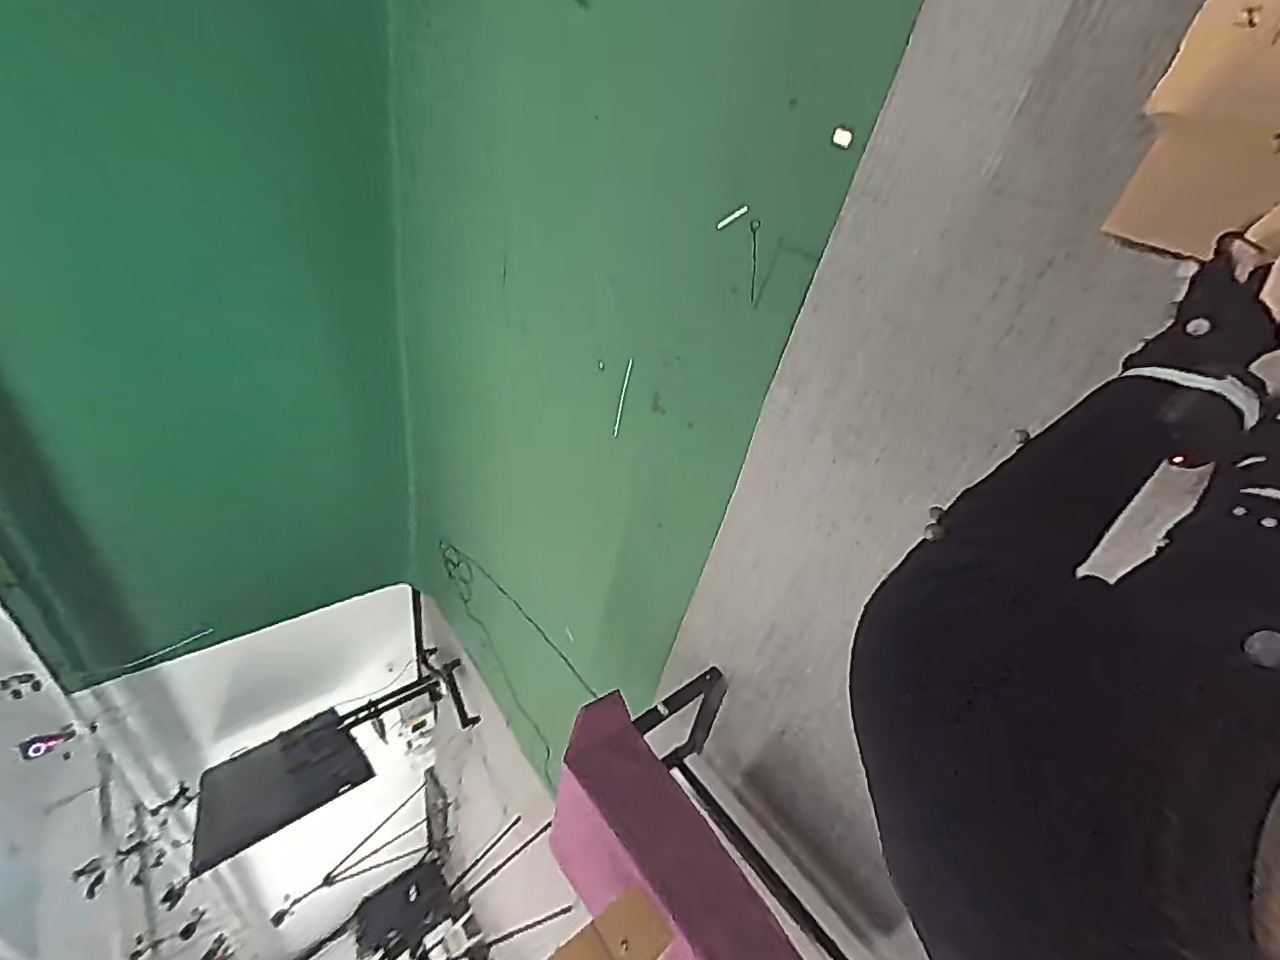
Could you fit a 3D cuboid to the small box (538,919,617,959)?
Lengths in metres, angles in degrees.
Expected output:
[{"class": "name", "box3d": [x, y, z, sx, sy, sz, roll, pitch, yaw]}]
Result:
[{"class": "small box", "box3d": [-0.161, 1.317, 1.431, 0.179, 0.176, 0.168, 39, 131, 35]}]

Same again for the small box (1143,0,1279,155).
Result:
[{"class": "small box", "box3d": [0.721, -0.471, 0.592, 0.179, 0.176, 0.168, 41, 130, 35]}]

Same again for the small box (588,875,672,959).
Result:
[{"class": "small box", "box3d": [-0.035, 1.280, 1.528, 0.179, 0.176, 0.168, 41, 133, 35]}]
